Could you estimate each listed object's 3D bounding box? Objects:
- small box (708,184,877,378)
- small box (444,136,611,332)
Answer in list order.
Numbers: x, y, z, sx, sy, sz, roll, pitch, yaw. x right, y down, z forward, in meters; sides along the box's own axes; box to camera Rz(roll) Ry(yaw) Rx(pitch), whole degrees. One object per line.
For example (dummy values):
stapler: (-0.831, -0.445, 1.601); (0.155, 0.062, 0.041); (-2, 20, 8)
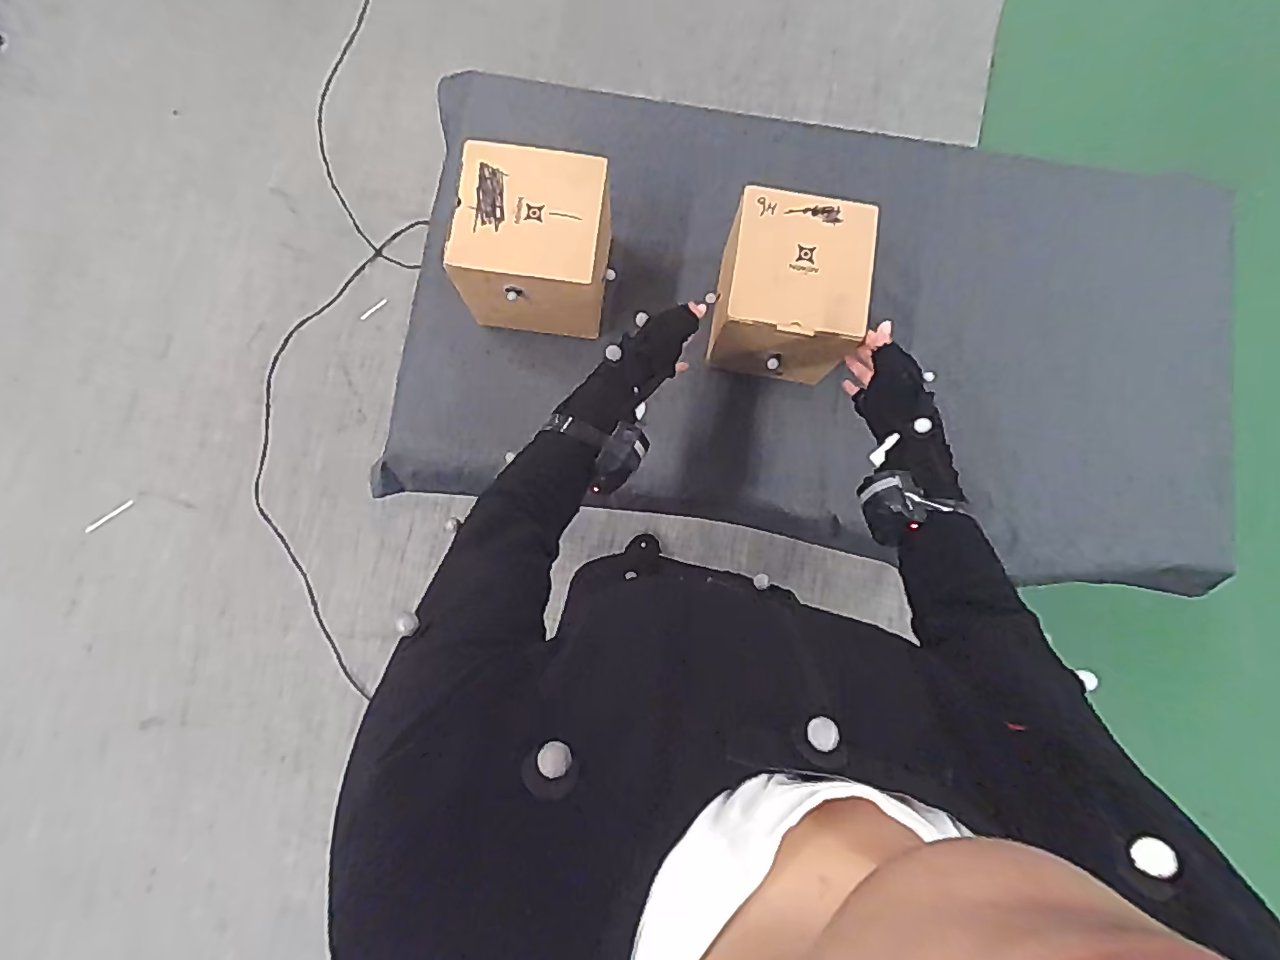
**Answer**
small box: (0.190, -0.251, 0.722); (0.168, 0.176, 0.179); (10, 83, 0)
small box: (-0.136, -0.312, 0.718); (0.179, 0.176, 0.168); (7, 83, -2)
